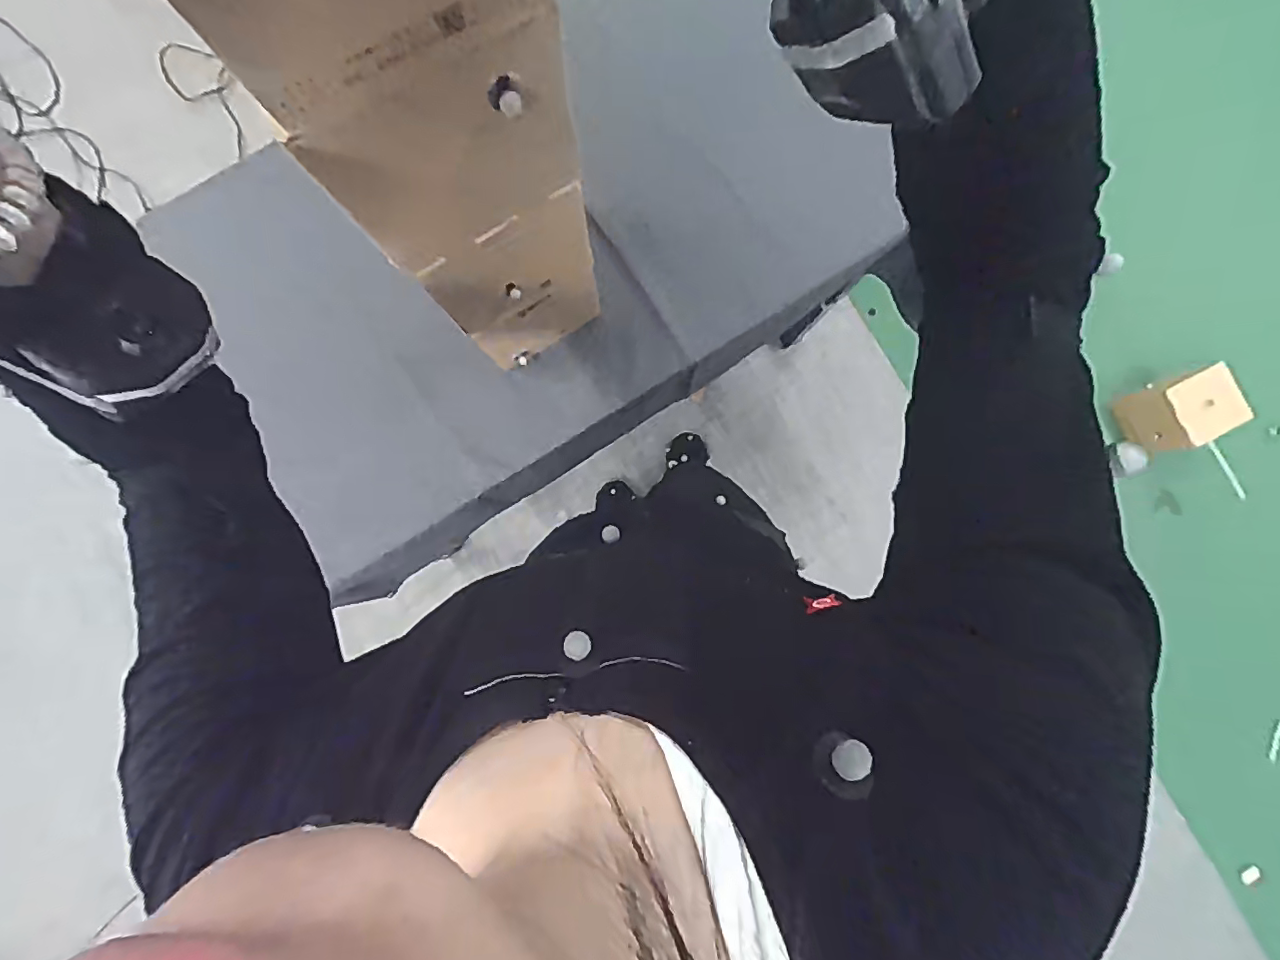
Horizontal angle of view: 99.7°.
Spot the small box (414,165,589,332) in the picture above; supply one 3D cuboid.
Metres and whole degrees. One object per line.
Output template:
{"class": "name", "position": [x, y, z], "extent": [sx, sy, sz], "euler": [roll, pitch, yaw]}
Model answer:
{"class": "small box", "position": [-0.167, -0.284, 0.554], "extent": [0.168, 0.176, 0.179], "euler": [-32, 88, -2]}

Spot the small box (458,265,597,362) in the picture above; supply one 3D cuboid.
{"class": "small box", "position": [-0.170, -0.275, 0.715], "extent": [0.168, 0.176, 0.179], "euler": [-33, 87, -2]}

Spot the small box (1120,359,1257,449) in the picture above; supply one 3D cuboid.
{"class": "small box", "position": [1.449, -0.194, 1.448], "extent": [0.179, 0.176, 0.168], "euler": [-27, 88, -1]}

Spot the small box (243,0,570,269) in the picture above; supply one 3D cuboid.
{"class": "small box", "position": [-0.162, -0.291, 0.389], "extent": [0.179, 0.176, 0.168], "euler": [-31, 88, -2]}

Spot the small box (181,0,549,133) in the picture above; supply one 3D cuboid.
{"class": "small box", "position": [-0.157, -0.302, 0.226], "extent": [0.168, 0.176, 0.179], "euler": [-30, 87, -2]}
